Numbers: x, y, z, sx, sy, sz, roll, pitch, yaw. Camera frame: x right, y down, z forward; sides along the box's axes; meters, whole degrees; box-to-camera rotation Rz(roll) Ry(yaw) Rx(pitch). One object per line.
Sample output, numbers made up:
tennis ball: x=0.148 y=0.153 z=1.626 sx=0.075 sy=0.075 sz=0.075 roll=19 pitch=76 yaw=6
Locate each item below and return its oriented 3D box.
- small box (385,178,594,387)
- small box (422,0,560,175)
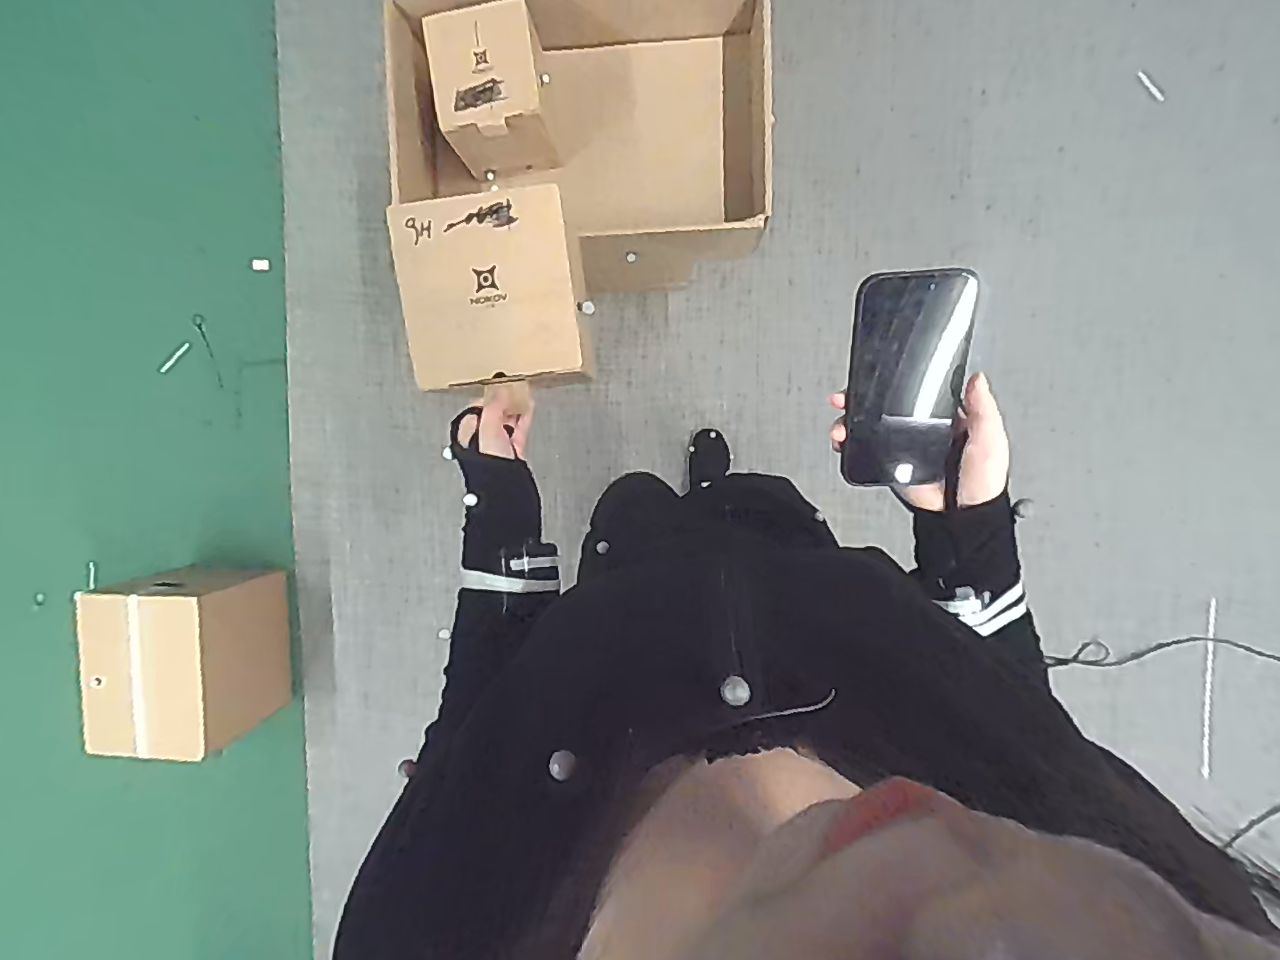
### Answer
small box: x=-0.147 y=-0.197 z=0.591 sx=0.168 sy=0.176 sz=0.179 roll=-6 pitch=97 yaw=2
small box: x=-0.240 y=-0.645 z=0.913 sx=0.168 sy=0.176 sz=0.179 roll=-8 pitch=92 yaw=4
